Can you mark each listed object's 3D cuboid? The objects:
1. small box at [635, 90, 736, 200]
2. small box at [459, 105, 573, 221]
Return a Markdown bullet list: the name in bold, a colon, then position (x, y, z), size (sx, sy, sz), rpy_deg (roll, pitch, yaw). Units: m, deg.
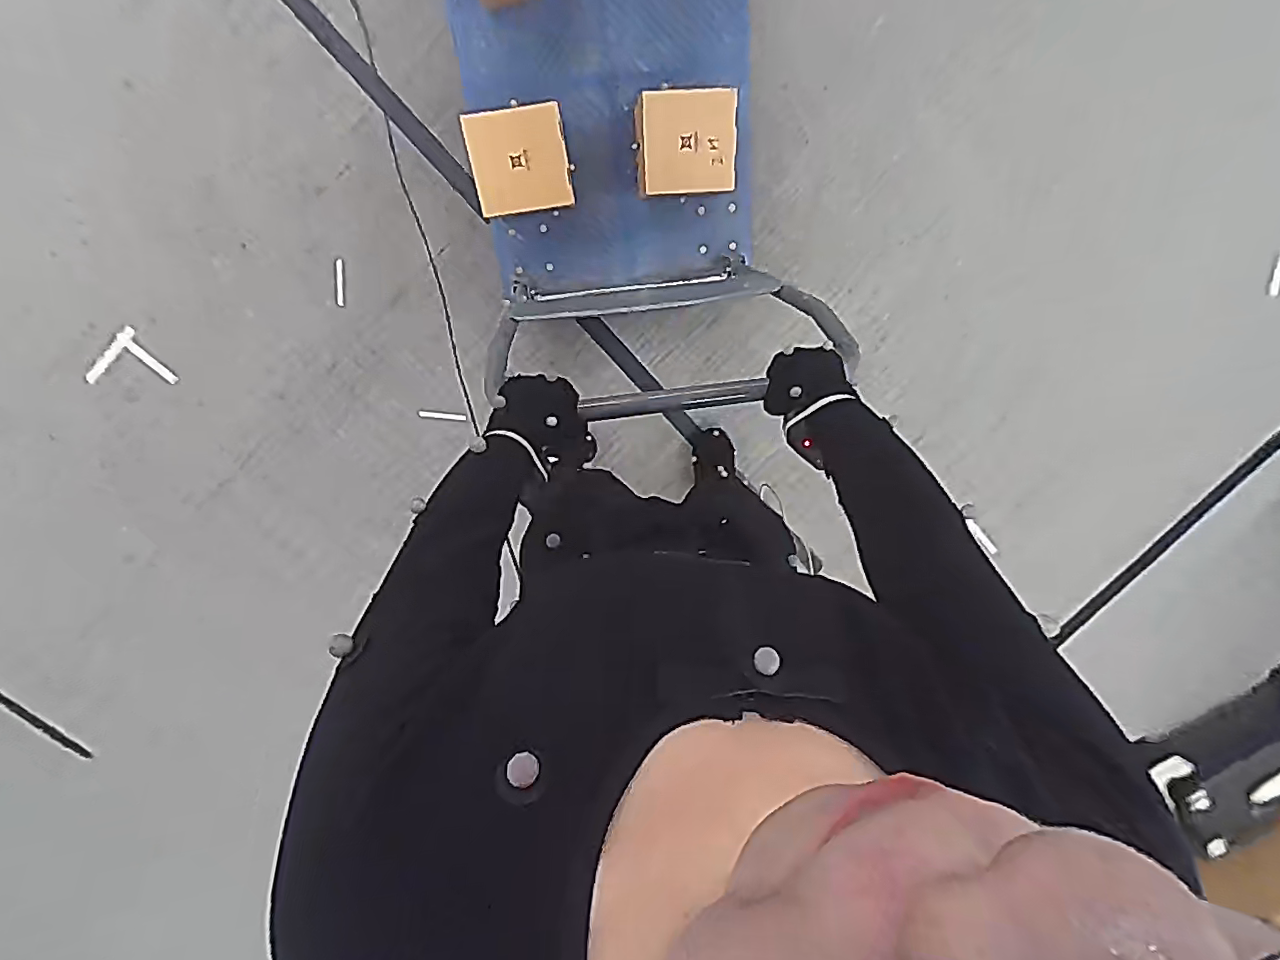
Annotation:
- **small box**: position (0.082, -0.653, 1.068), size (0.179, 0.176, 0.168), rpy_deg (-5, 116, -4)
- **small box**: position (-0.231, -0.608, 1.055), size (0.179, 0.176, 0.168), rpy_deg (-11, 116, -3)
